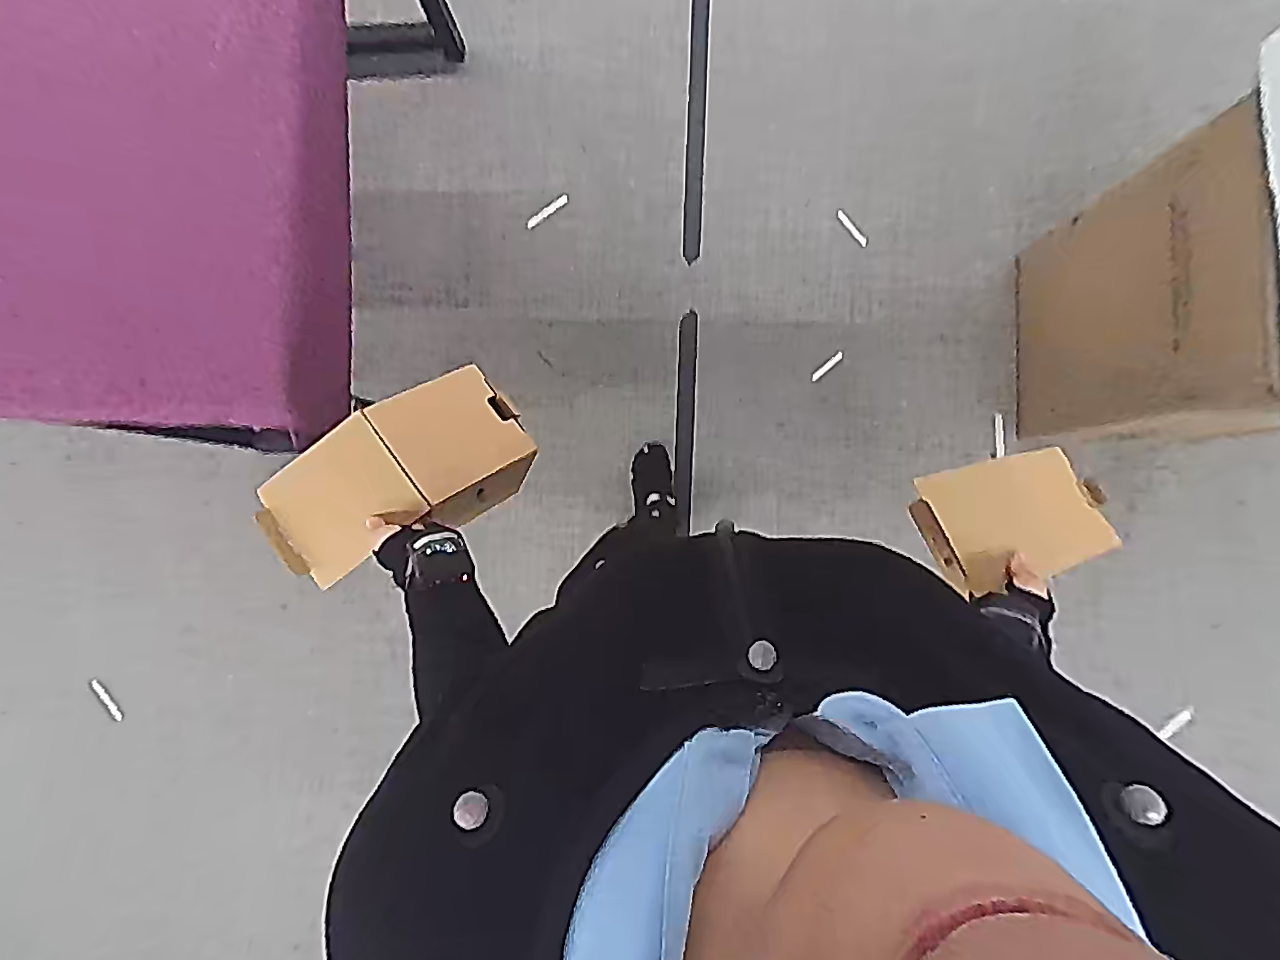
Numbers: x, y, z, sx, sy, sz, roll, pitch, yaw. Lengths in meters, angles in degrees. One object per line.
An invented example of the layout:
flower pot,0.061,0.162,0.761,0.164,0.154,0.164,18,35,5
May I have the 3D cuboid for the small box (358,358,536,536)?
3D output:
small box,-0.283,-0.042,0.797,0.179,0.176,0.168,-34,83,-32
